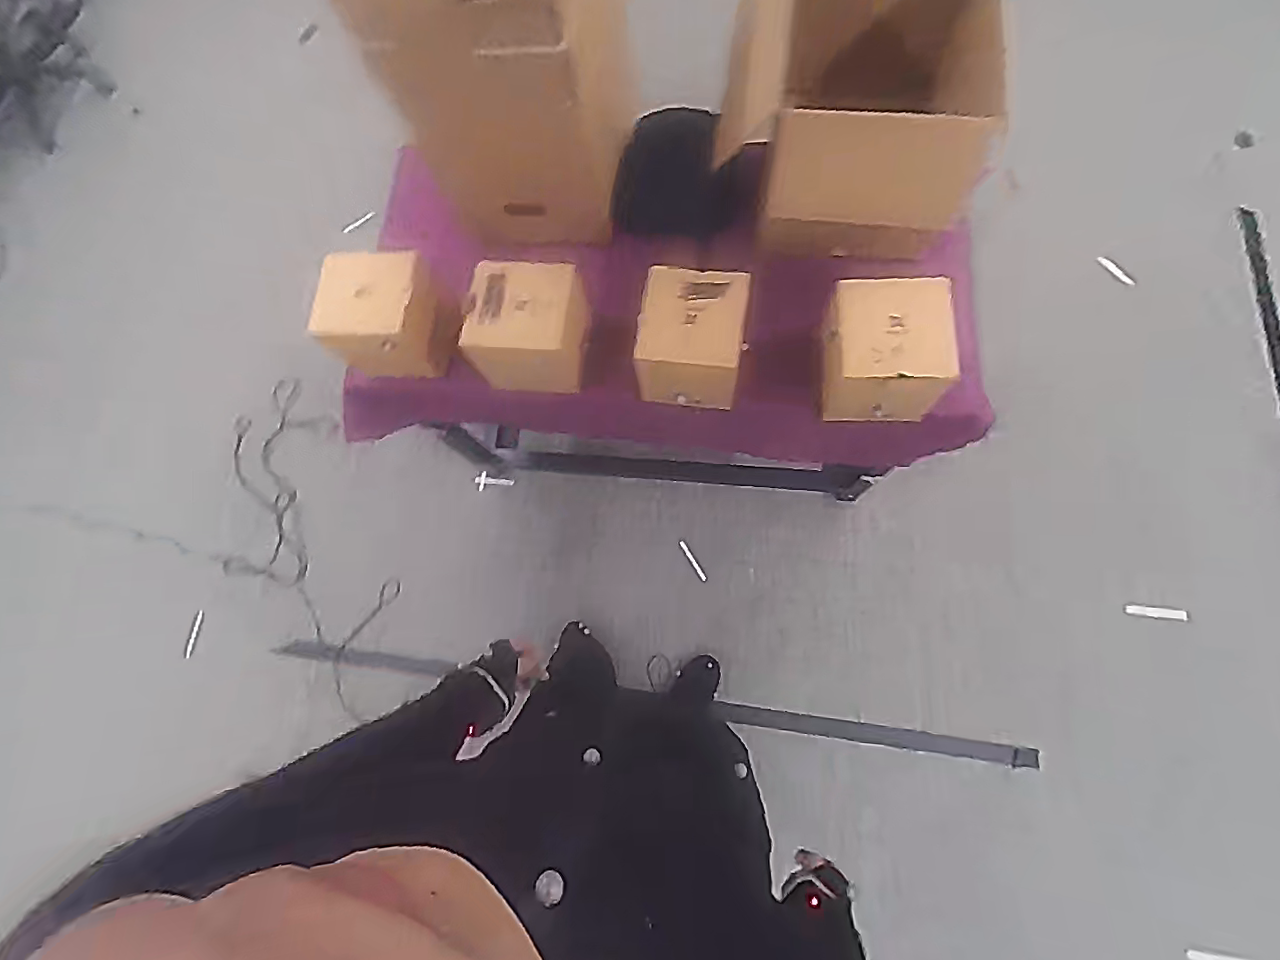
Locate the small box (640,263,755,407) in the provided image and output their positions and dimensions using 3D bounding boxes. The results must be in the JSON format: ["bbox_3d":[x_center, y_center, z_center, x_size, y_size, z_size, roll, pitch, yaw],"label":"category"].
[{"bbox_3d":[0.101,-0.248,0.948,0.168,0.176,0.179,8,76,9],"label":"small box"}]

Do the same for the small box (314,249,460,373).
[{"bbox_3d":[-0.470,-0.316,1.031,0.179,0.176,0.168,2,75,5],"label":"small box"}]

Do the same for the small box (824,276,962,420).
[{"bbox_3d":[0.409,-0.215,0.903,0.168,0.176,0.179,2,75,8],"label":"small box"}]
